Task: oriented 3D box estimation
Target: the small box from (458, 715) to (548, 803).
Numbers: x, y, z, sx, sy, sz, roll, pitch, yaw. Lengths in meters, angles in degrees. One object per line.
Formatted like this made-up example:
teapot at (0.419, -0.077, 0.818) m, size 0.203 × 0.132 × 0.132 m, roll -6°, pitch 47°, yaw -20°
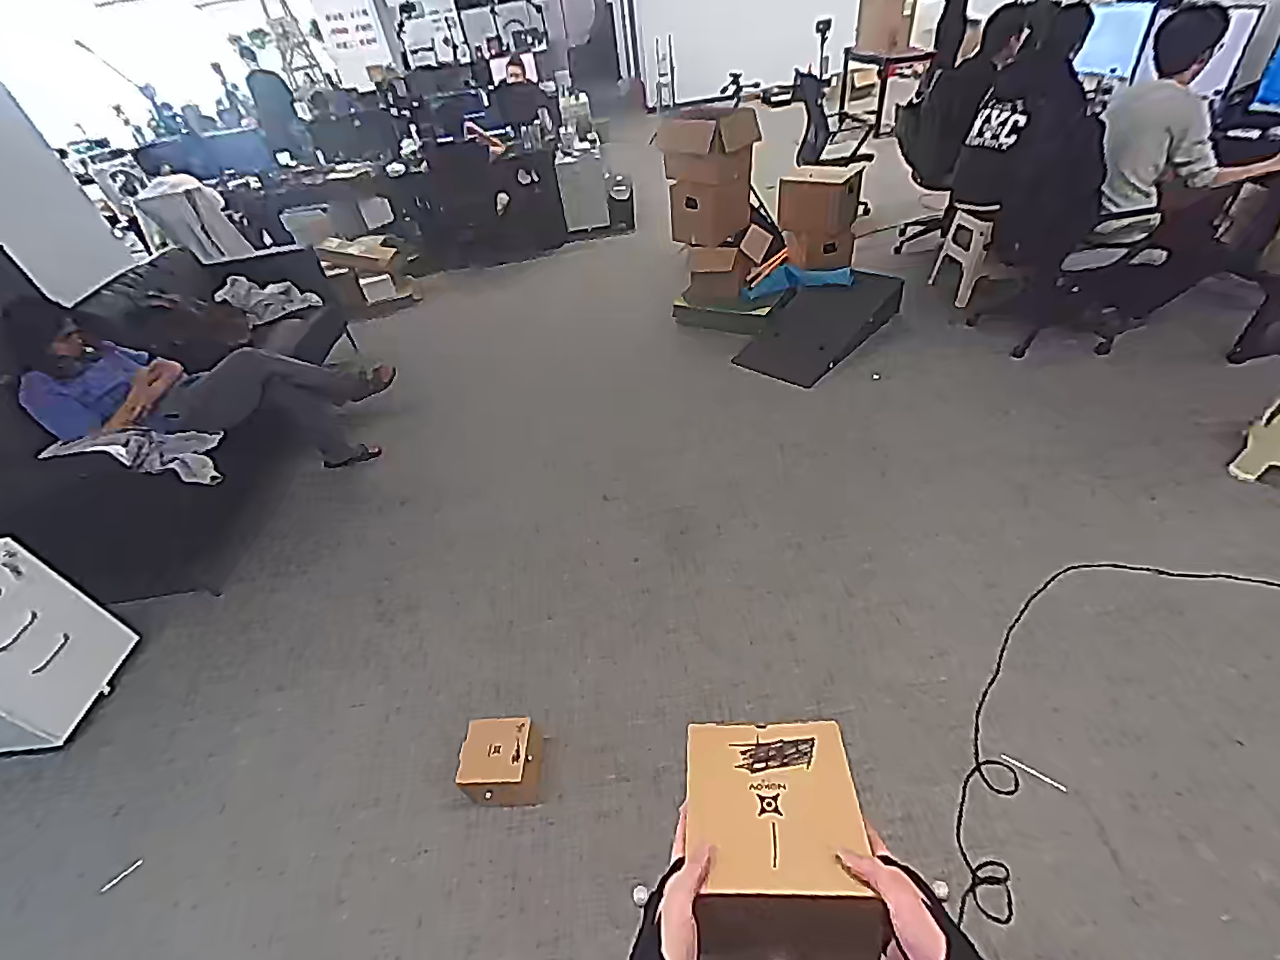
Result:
small box at (-0.366, 0.764, 1.477) m, size 0.179 × 0.176 × 0.168 m, roll -5°, pitch 40°, yaw 6°

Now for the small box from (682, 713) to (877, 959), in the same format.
small box at (0.138, 0.374, 0.567) m, size 0.168 × 0.176 × 0.179 m, roll -6°, pitch 25°, yaw 10°
